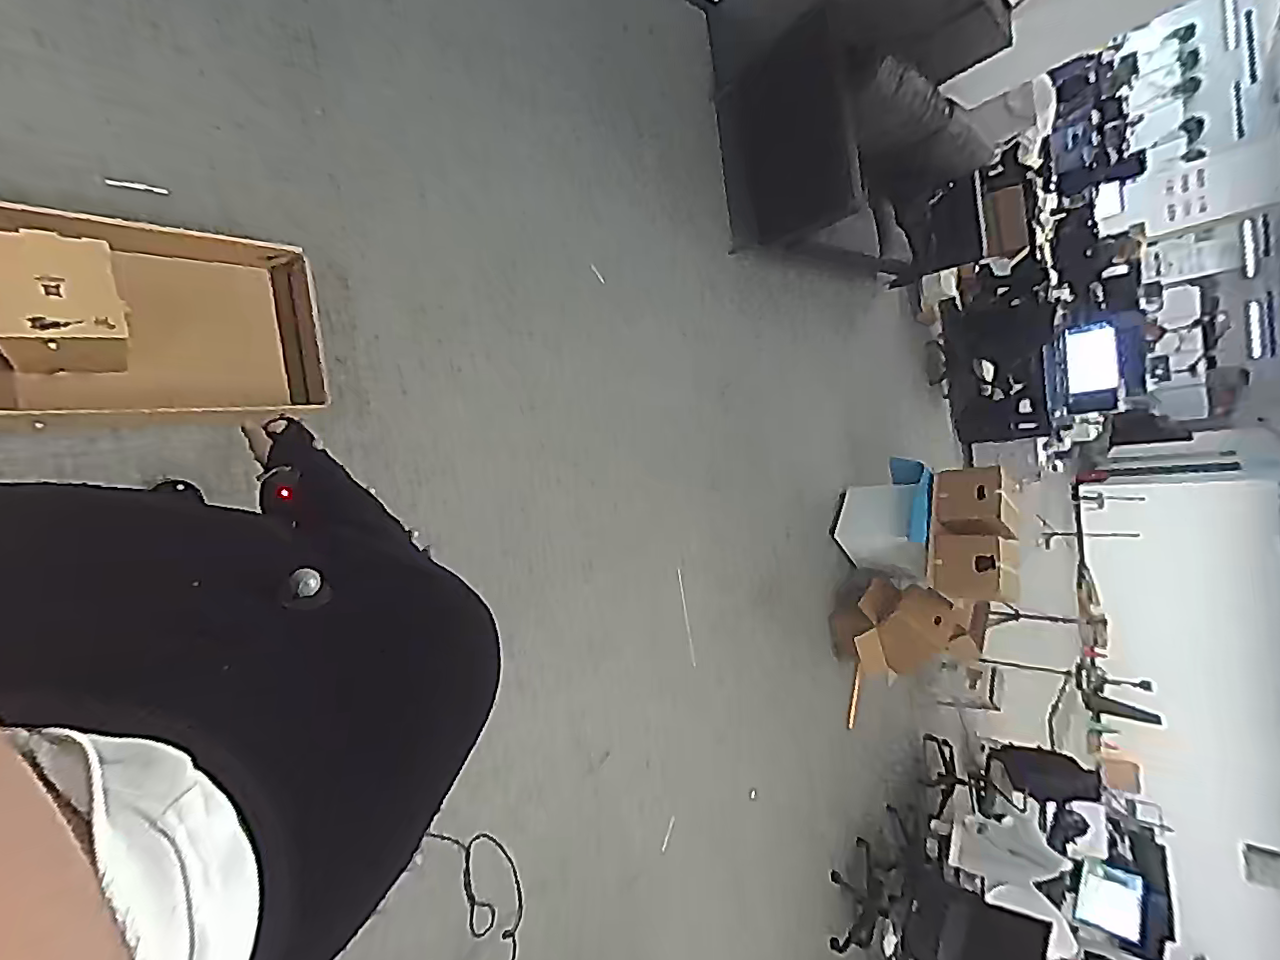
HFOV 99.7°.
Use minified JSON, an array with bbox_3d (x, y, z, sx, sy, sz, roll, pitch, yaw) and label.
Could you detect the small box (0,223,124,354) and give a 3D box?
[{"bbox_3d":[-1.047,-0.330,0.958,0.168,0.176,0.179,-14,96,-43],"label":"small box"}]
